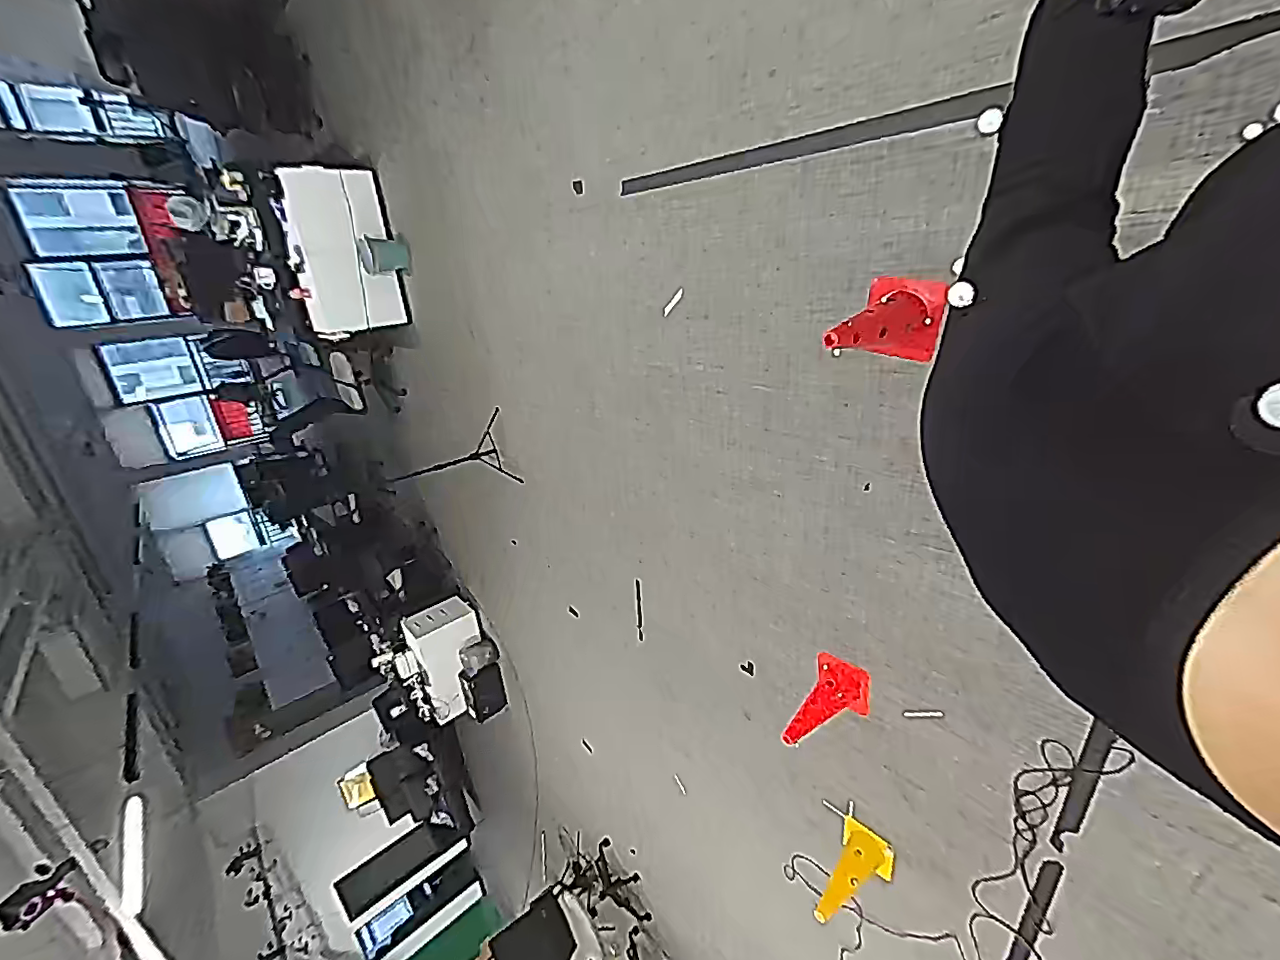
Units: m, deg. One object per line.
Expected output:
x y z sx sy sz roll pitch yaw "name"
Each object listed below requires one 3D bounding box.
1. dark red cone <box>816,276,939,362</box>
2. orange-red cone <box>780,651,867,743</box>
0.546 -0.372 1.317 0.201 0.394 0.202 26 127 41 "dark red cone"
0.611 0.797 1.884 0.198 0.360 0.199 18 123 47 "orange-red cone"
